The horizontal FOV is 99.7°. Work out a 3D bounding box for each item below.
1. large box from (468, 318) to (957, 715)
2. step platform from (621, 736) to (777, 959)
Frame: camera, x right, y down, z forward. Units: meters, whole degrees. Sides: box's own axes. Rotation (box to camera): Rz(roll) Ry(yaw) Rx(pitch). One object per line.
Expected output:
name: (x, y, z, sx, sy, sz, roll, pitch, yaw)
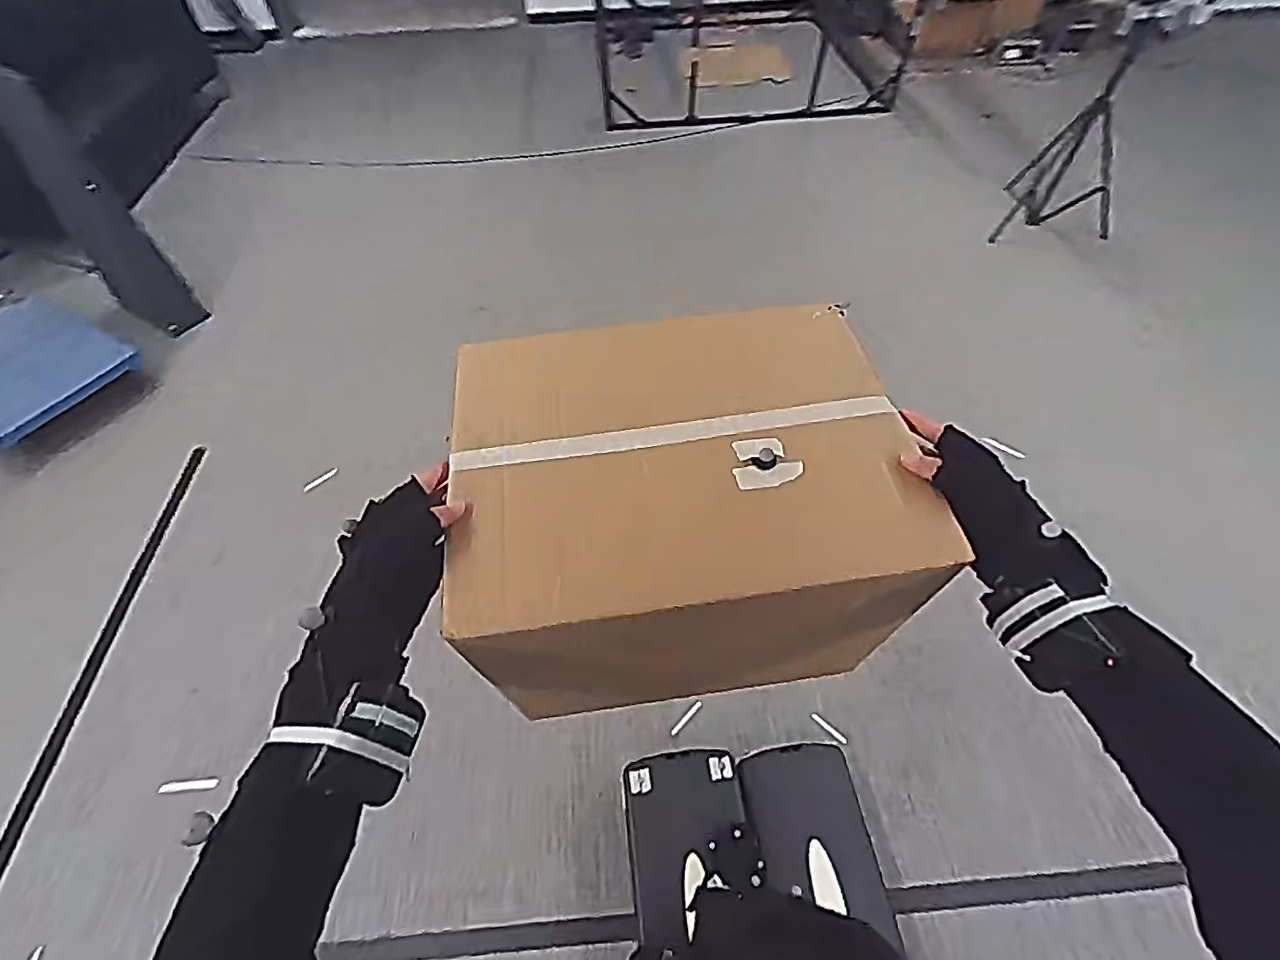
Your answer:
large box: (0.043, 0.053, 0.628, 0.408, 0.320, 0.320, -7, 56, -4)
step platform: (0.130, 0.958, 1.224, 0.286, 0.204, 0.684, -7, 53, -3)
